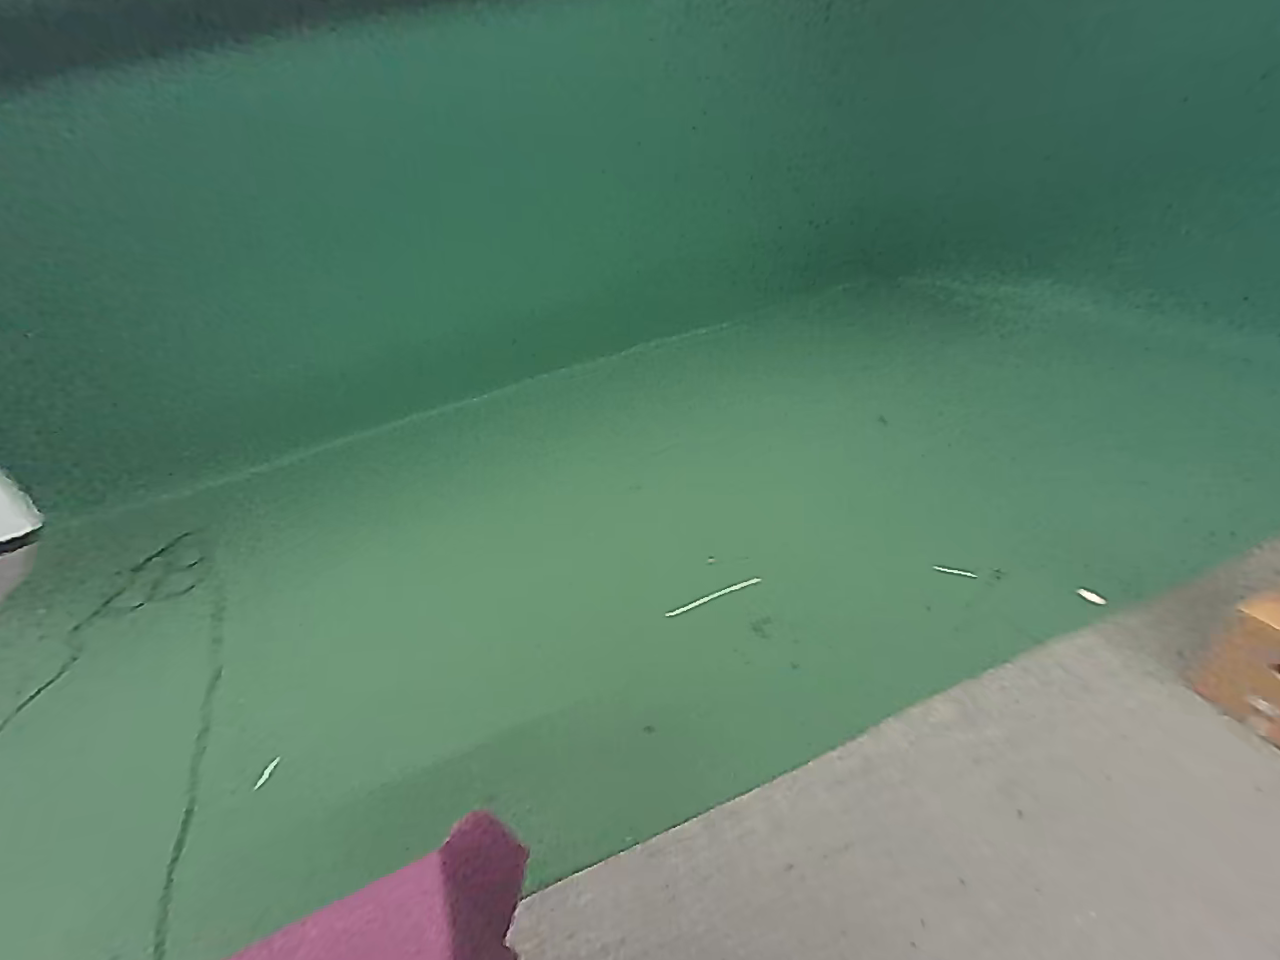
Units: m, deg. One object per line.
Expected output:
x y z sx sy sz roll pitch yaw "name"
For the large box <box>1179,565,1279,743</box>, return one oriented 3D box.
1.663 0.414 1.307 0.408 0.320 0.320 -20 36 -12 "large box"
